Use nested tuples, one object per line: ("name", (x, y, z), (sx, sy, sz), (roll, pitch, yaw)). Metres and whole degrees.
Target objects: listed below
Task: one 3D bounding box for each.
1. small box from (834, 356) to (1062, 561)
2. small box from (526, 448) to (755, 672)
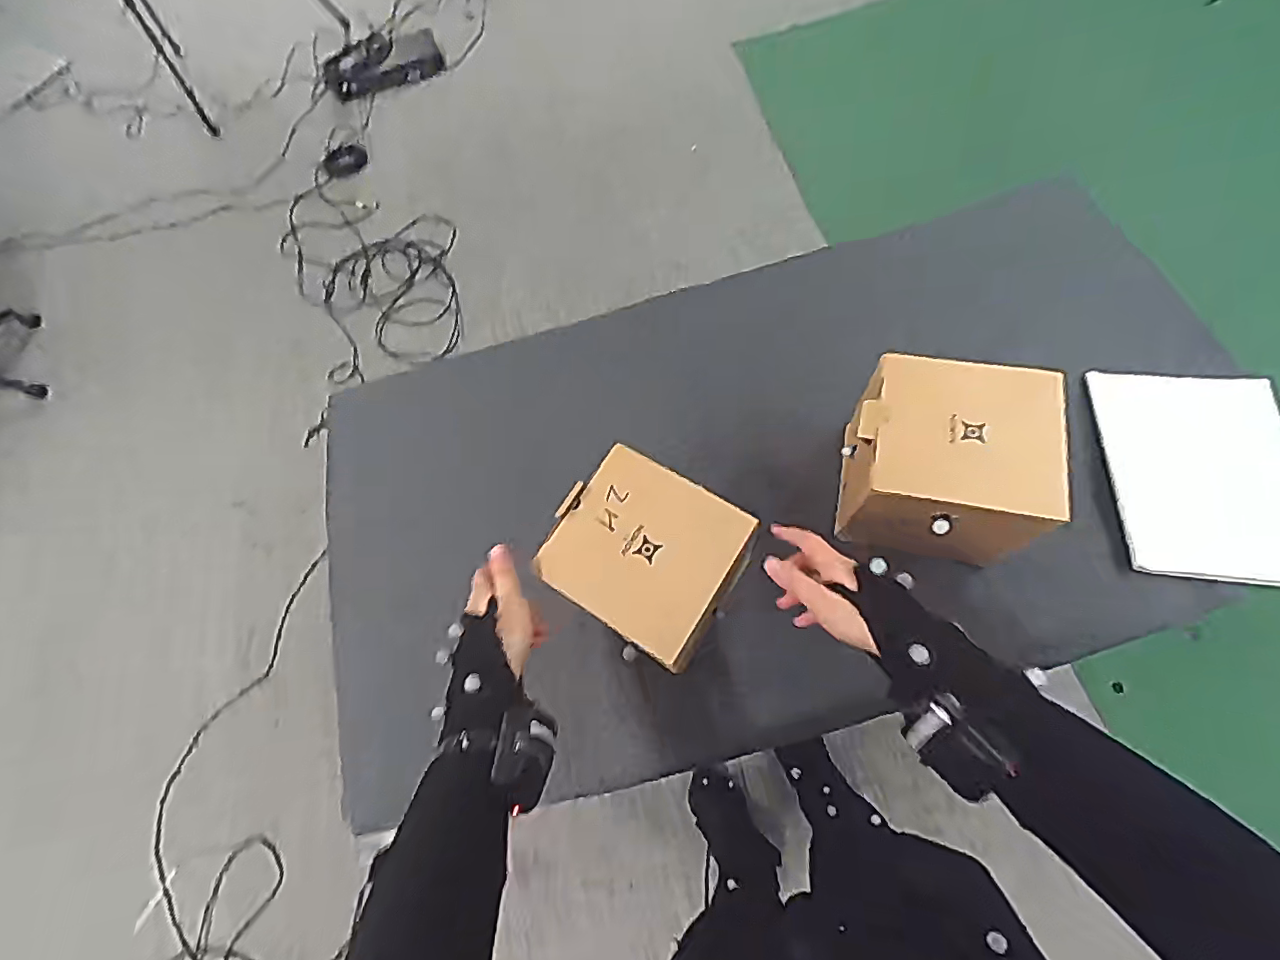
("small box", (0.333, -0.015, 0.613), (0.179, 0.176, 0.168), (10, 69, 13))
("small box", (0.009, 0.098, 0.612), (0.179, 0.176, 0.168), (29, 74, 18))
